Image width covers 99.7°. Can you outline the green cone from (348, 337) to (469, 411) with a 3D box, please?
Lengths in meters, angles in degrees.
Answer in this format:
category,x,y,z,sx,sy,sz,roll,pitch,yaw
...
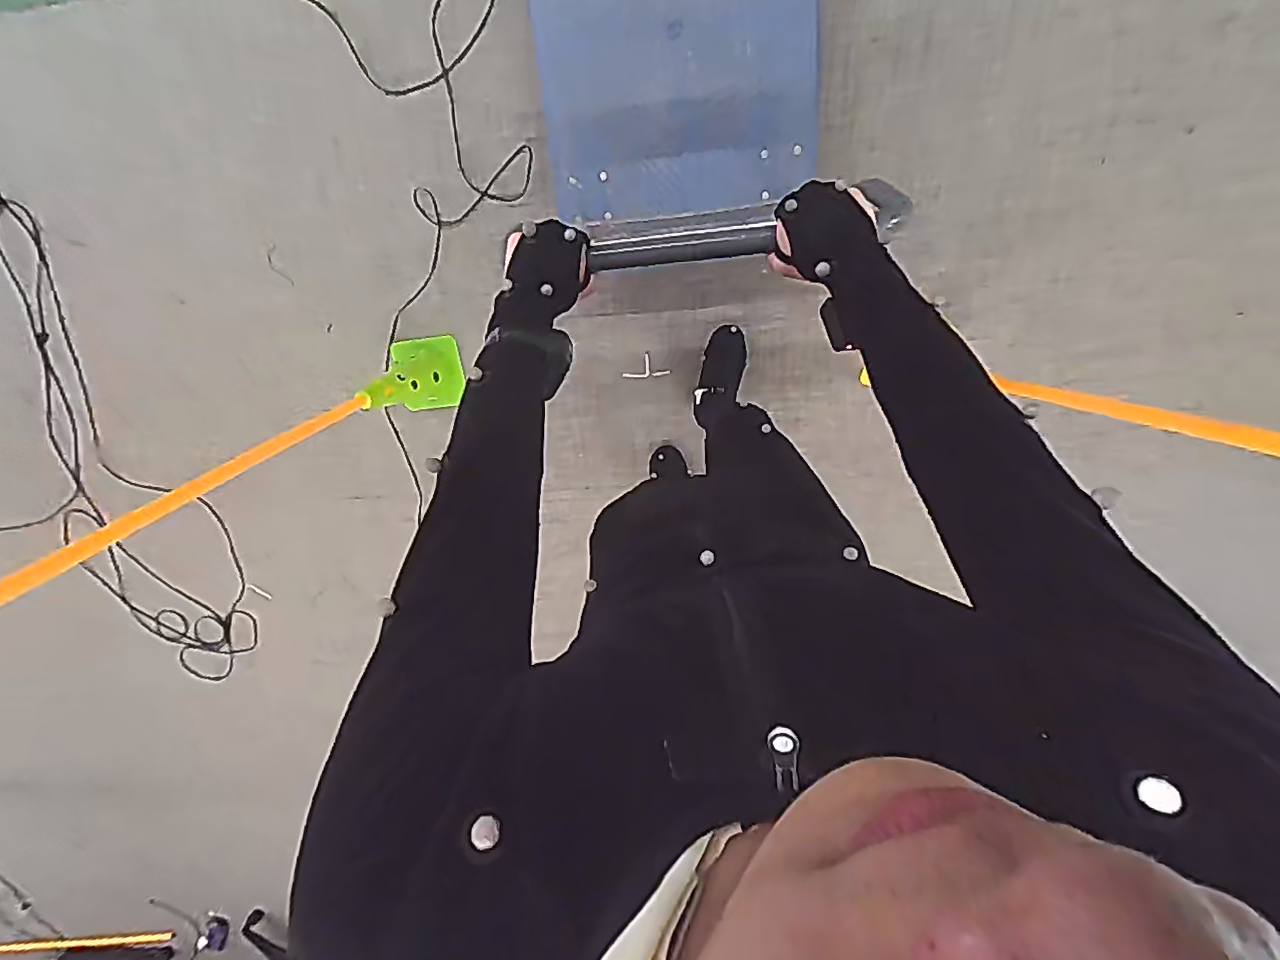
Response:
category,x,y,z,sx,sy,sz,roll,pitch,yaw
green cone,-0.626,-0.245,1.404,0.202,0.368,0.200,-5,109,9
